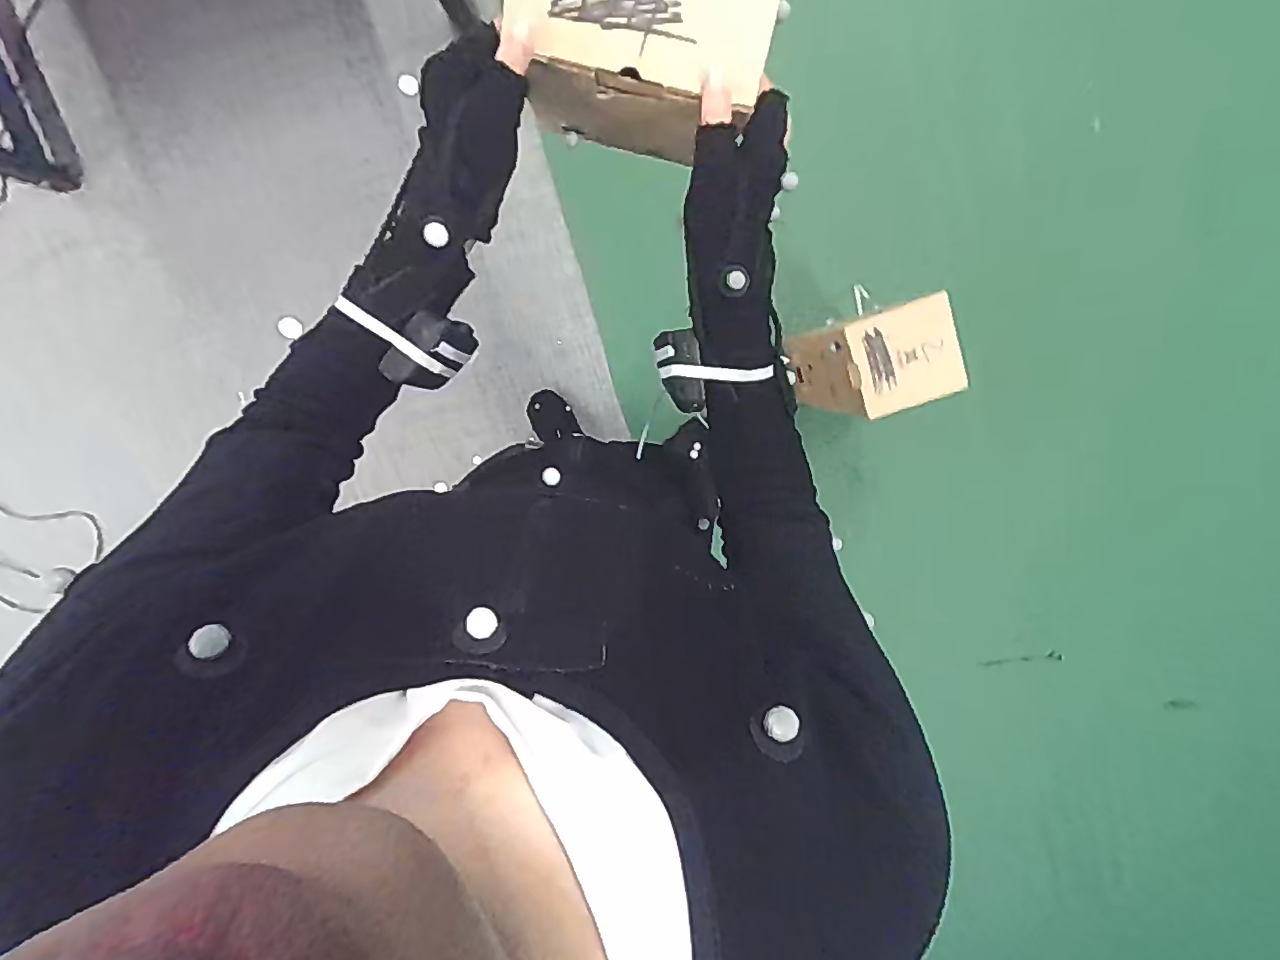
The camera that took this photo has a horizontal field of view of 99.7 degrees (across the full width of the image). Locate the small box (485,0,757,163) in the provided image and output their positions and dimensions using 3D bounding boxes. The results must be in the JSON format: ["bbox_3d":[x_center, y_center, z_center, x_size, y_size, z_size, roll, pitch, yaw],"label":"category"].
[{"bbox_3d":[-0.002,-0.359,0.395,0.168,0.176,0.179,11,106,-5],"label":"small box"}]

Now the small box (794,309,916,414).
[{"bbox_3d":[0.450,-0.251,1.153,0.179,0.176,0.168,-19,101,7],"label":"small box"}]

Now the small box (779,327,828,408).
[{"bbox_3d":[0.457,-0.282,1.312,0.179,0.176,0.168,-17,100,6],"label":"small box"}]
